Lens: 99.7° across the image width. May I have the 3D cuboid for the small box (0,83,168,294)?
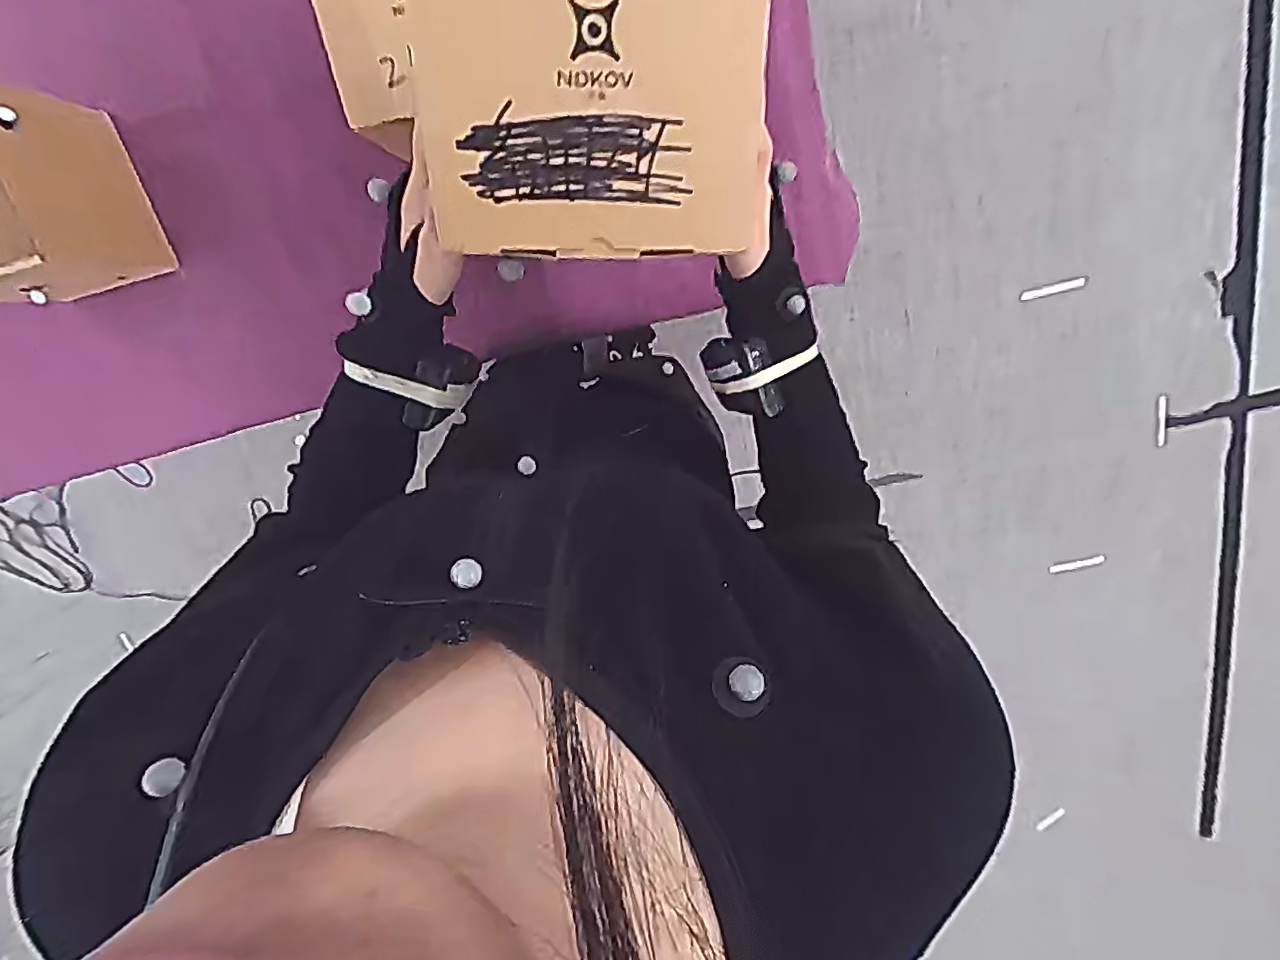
[{"bbox_3d":[-0.673,-0.302,0.575,0.168,0.176,0.179,-13,108,5],"label":"small box"}]

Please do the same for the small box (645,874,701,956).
[{"bbox_3d":[0.118,1.573,1.968,0.168,0.176,0.179,-14,109,7],"label":"small box"}]

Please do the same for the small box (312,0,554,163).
[{"bbox_3d":[-0.190,-0.433,0.520,0.168,0.176,0.179,-8,109,5],"label":"small box"}]
